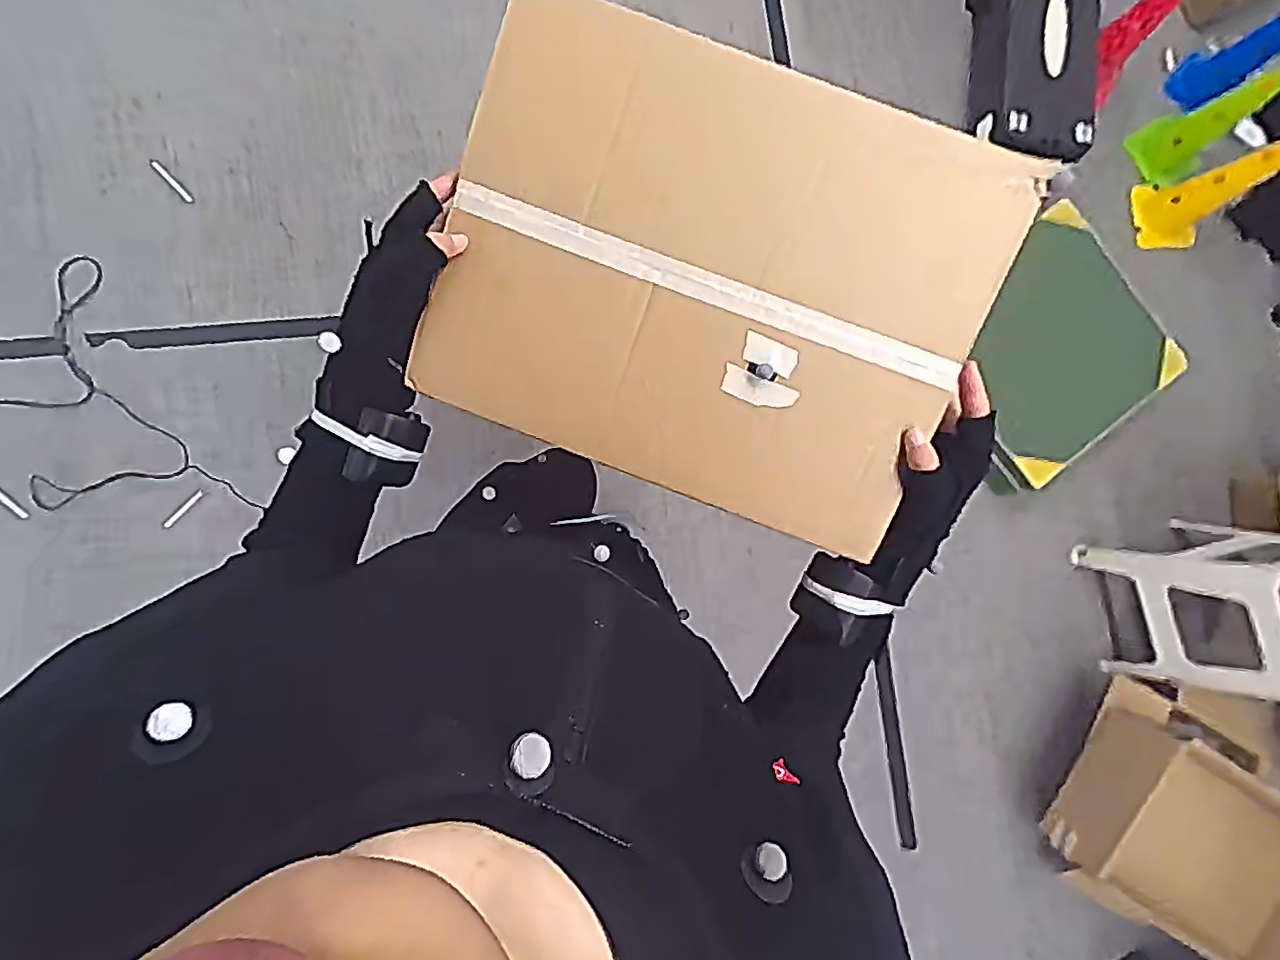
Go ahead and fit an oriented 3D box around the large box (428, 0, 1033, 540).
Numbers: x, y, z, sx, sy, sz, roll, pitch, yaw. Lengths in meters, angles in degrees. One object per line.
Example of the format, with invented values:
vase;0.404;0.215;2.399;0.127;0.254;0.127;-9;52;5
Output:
large box;0.065;-0.180;0.573;0.408;0.320;0.320;21;101;0
